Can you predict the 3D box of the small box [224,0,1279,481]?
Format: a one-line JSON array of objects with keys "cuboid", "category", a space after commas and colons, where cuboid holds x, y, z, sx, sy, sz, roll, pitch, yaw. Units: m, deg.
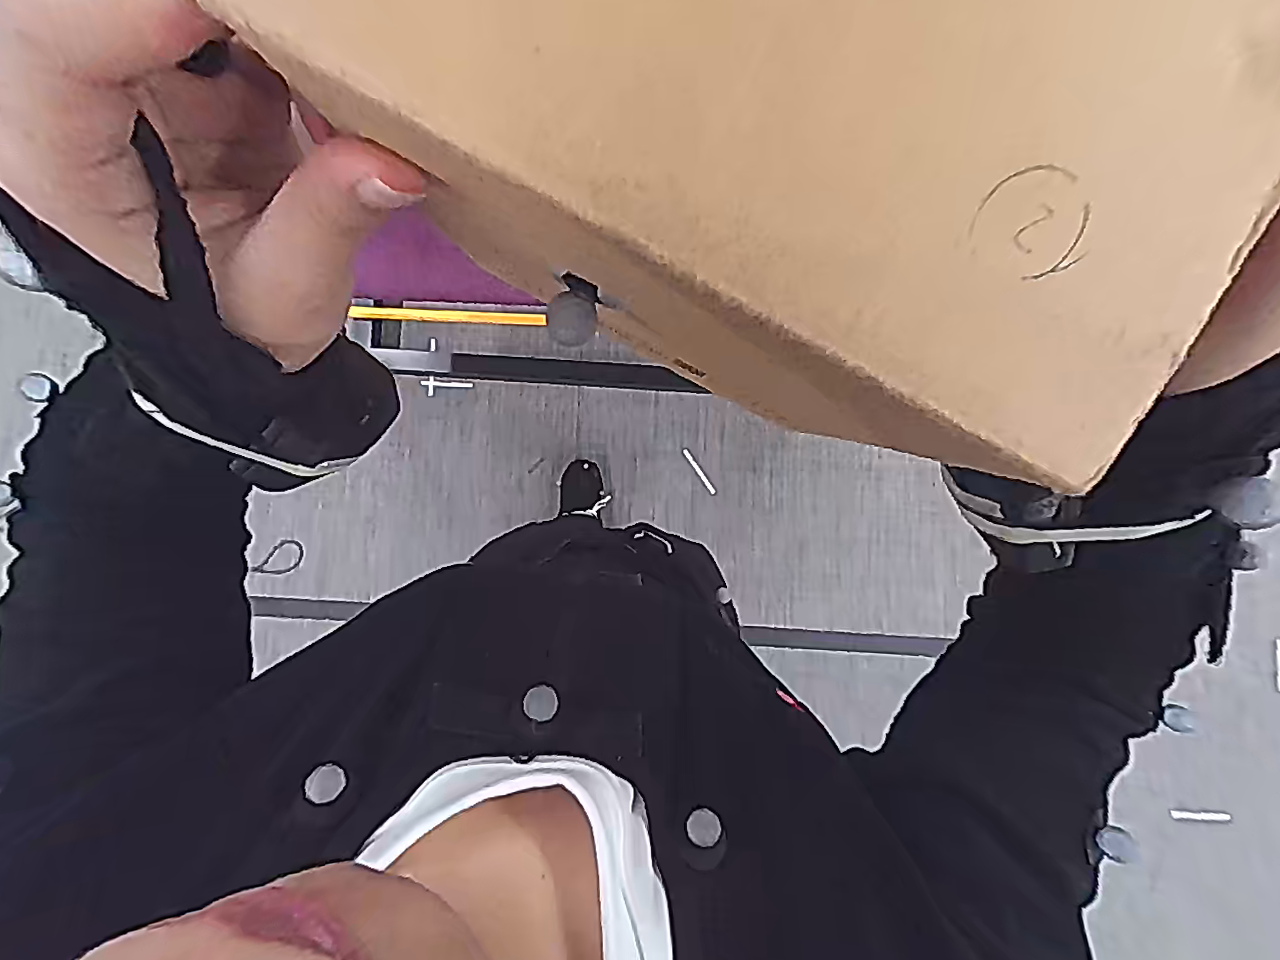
[{"cuboid": [0.044, -0.121, 0.159, 0.168, 0.176, 0.179, 27, 96, -5], "category": "small box"}]
